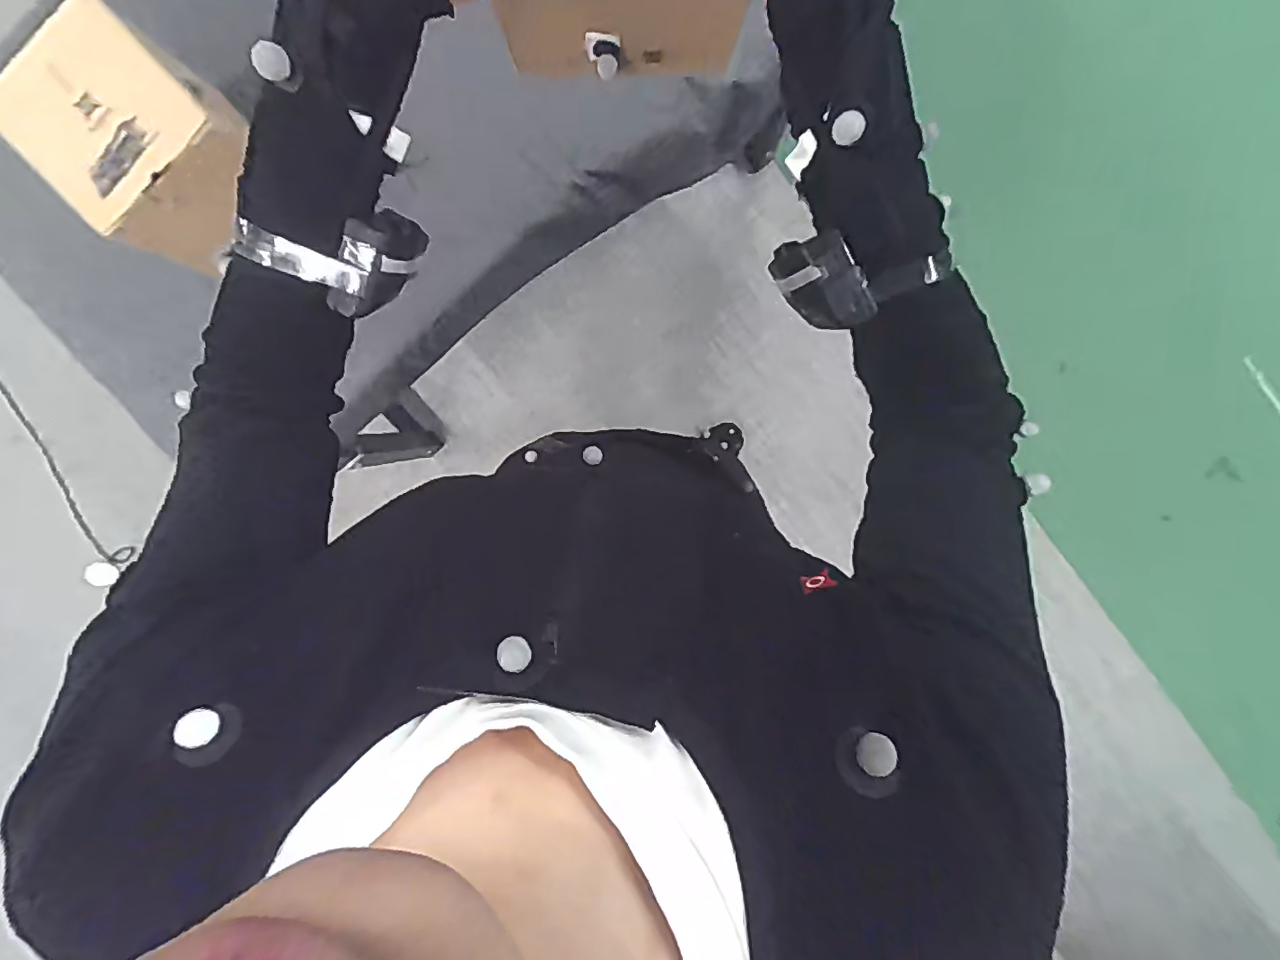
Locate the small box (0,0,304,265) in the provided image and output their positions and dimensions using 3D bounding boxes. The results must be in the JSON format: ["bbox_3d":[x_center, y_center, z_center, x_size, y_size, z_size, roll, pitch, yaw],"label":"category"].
[{"bbox_3d":[-0.539,-0.373,0.616,0.168,0.176,0.179,-43,93,4],"label":"small box"}]

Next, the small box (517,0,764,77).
[{"bbox_3d":[-0.002,-0.387,0.325,0.168,0.176,0.179,-1,100,0],"label":"small box"}]
